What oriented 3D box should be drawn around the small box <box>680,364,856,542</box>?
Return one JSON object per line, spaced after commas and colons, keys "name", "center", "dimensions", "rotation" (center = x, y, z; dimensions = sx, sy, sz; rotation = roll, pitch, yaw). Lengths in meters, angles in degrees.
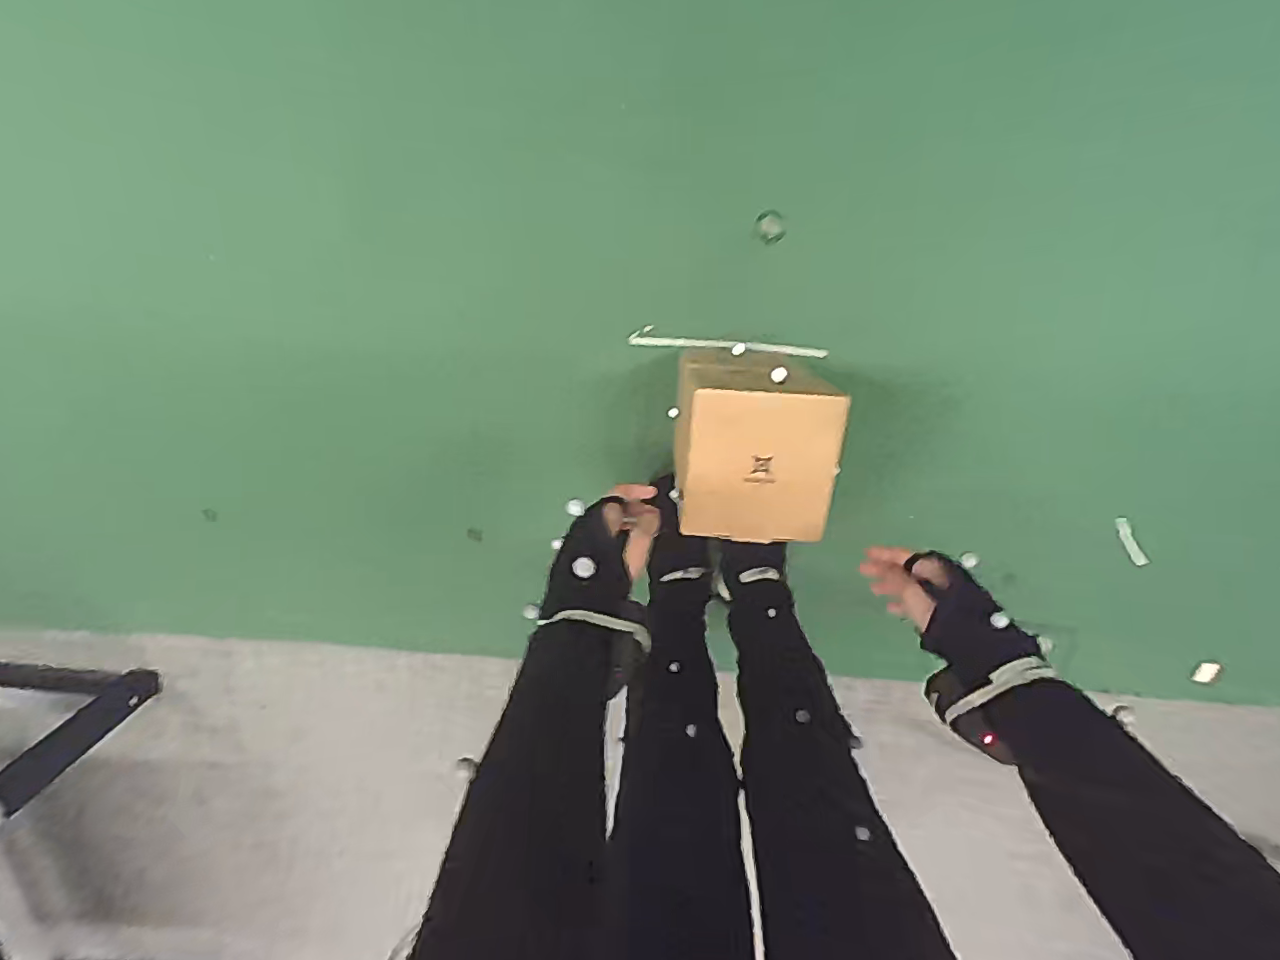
{"name": "small box", "center": [0.141, -0.043, 0.669], "dimensions": [0.168, 0.176, 0.179], "rotation": [4, 111, -1]}
